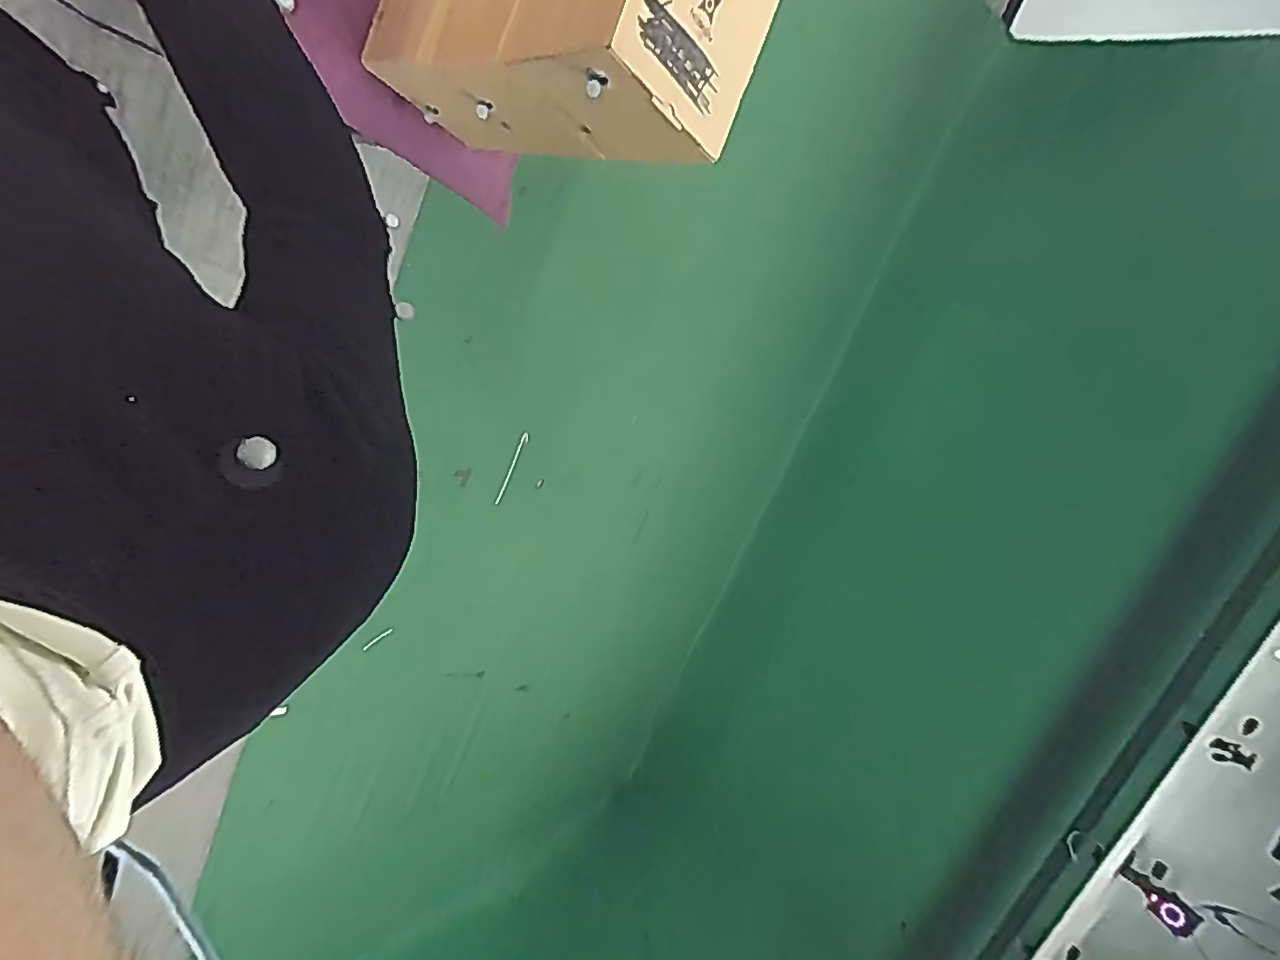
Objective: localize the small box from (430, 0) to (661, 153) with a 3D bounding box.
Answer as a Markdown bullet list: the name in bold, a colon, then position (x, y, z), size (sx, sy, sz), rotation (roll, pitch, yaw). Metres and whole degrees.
- **small box**: position (-0.112, -0.515, 0.623), size (0.168, 0.176, 0.179), rotation (15, 103, -52)

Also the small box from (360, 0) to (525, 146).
- **small box**: position (-0.230, -0.582, 0.715), size (0.179, 0.176, 0.168), rotation (14, 103, -54)
